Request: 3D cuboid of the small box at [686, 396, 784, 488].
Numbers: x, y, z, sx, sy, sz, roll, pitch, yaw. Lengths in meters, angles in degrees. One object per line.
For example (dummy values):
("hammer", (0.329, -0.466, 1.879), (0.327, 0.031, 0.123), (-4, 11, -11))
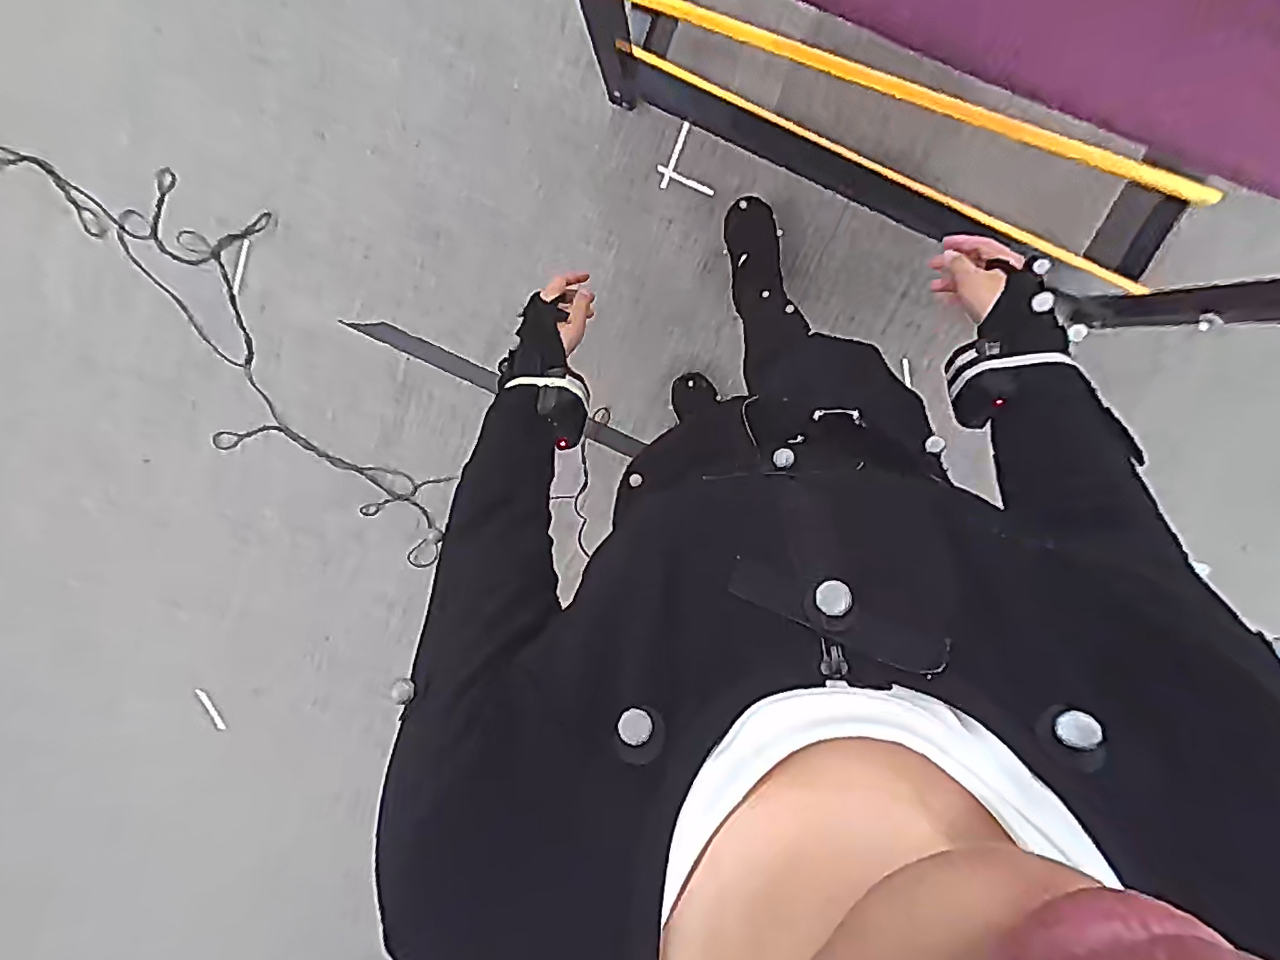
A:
("small box", (0.212, -0.088, 1.240), (0.179, 0.176, 0.168), (-18, 99, 7))
